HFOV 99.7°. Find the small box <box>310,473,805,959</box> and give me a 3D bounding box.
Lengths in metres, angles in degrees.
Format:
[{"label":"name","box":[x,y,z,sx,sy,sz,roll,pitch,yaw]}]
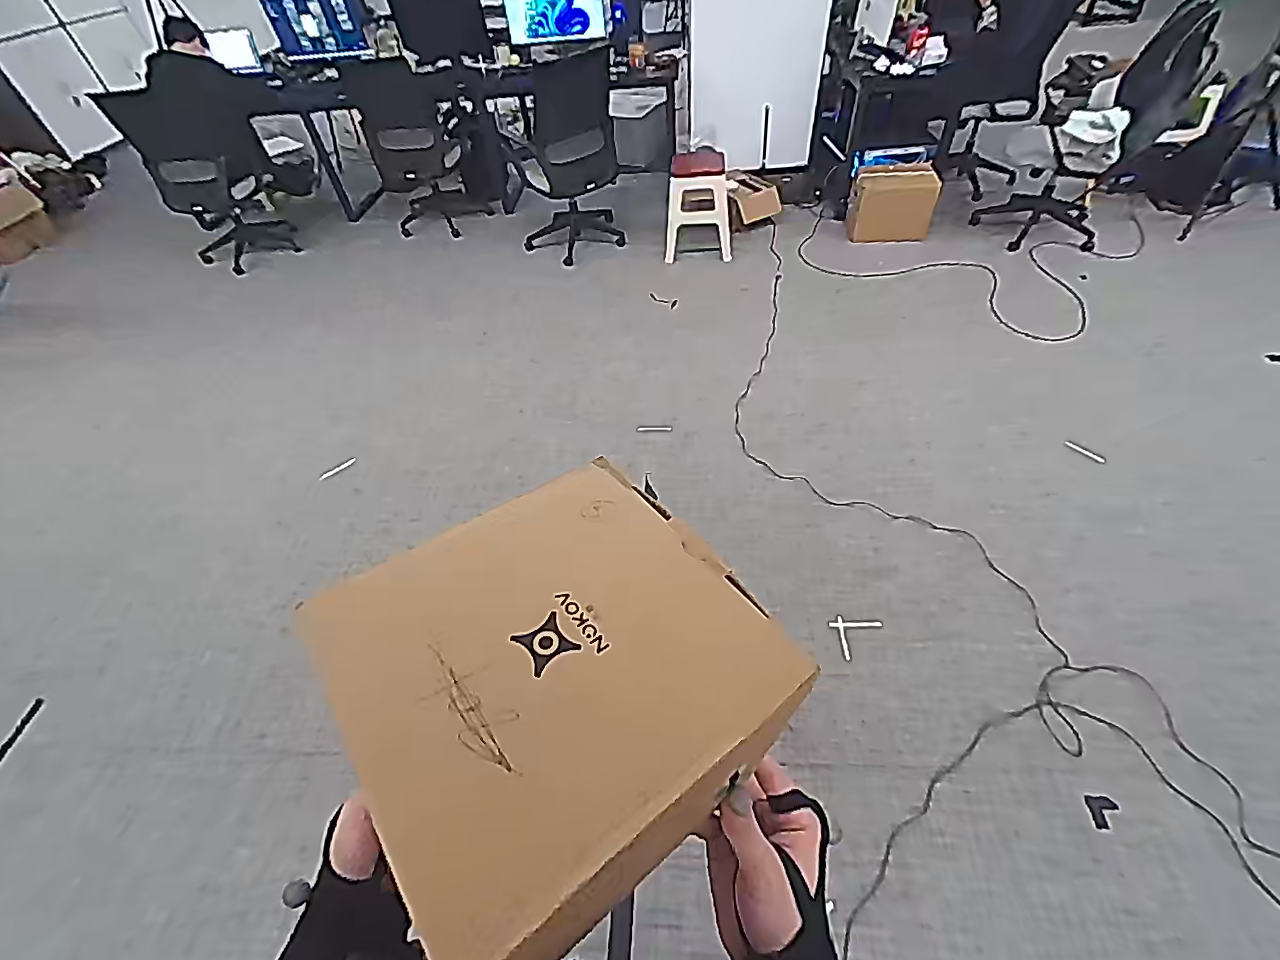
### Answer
[{"label":"small box","box":[-0.043,0.134,0.309,0.179,0.176,0.168,-30,55,-27]}]
